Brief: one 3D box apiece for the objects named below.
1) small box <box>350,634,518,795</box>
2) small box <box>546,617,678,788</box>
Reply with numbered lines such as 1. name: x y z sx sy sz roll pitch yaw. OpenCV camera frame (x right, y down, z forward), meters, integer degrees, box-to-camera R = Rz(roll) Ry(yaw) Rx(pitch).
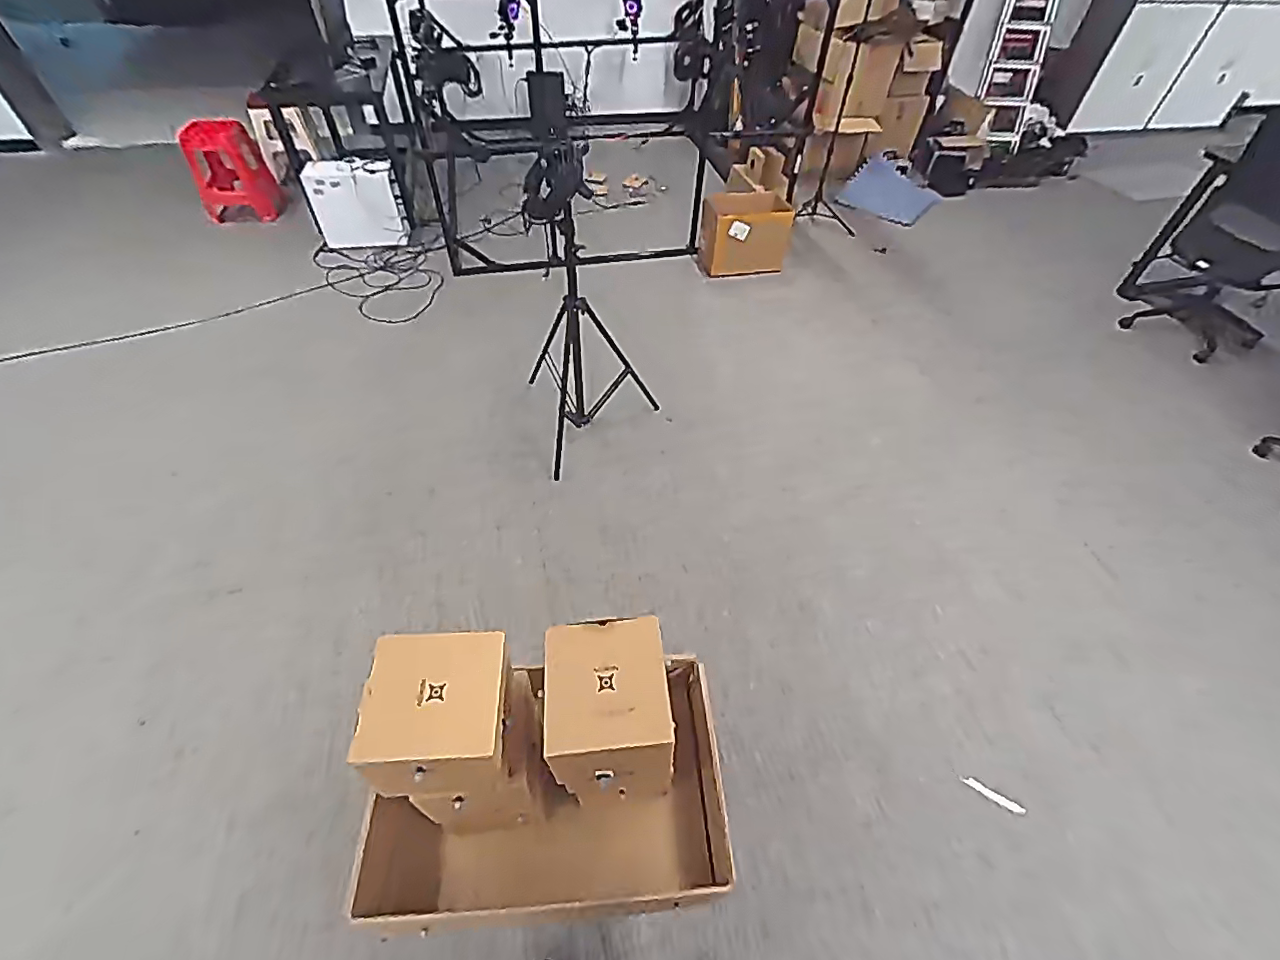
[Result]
1. small box: -0.271 0.332 0.762 0.179 0.176 0.168 -1 48 -5
2. small box: -0.042 0.321 0.779 0.168 0.176 0.179 -5 48 -4
